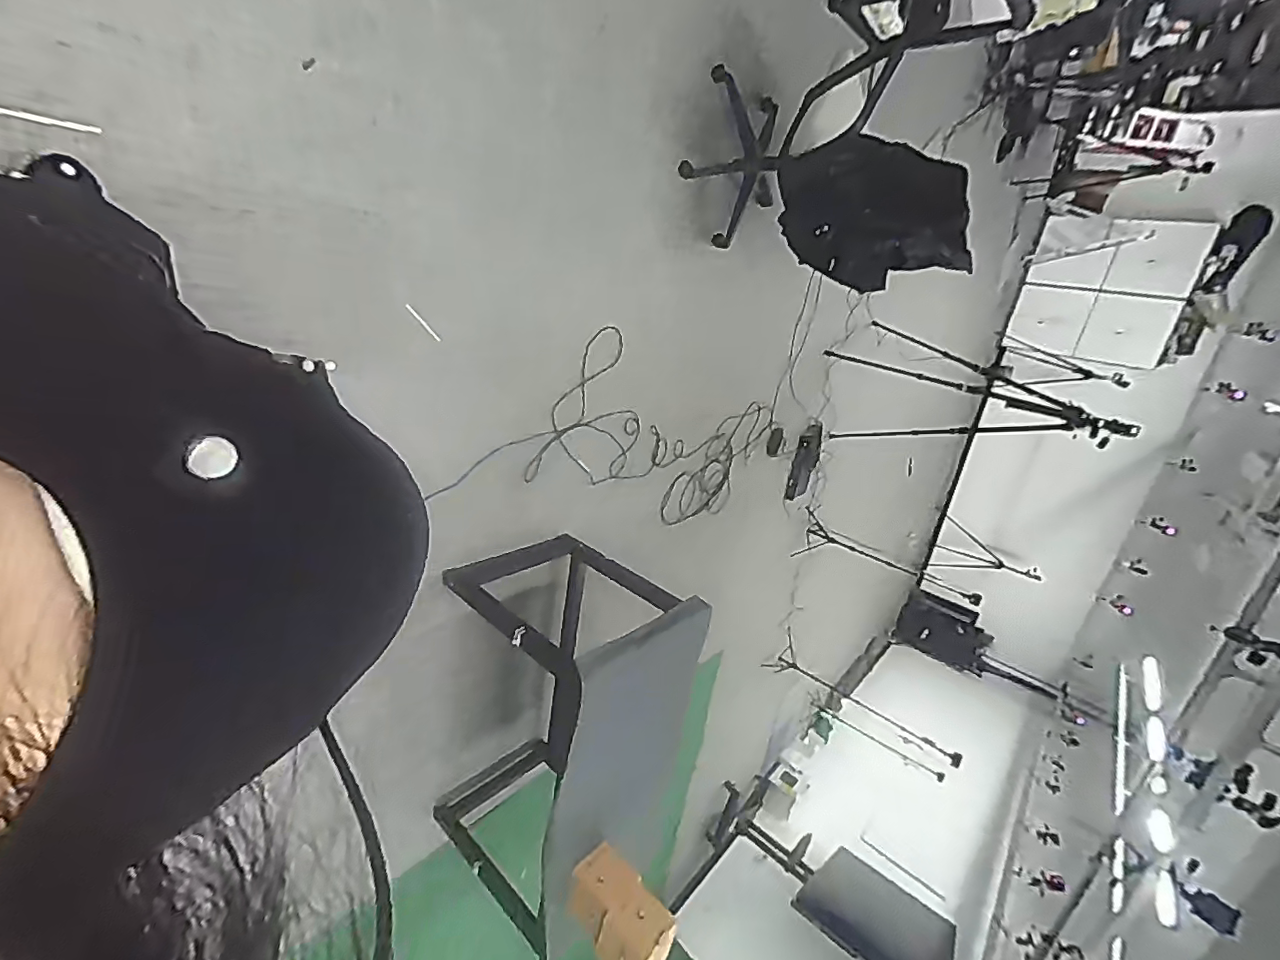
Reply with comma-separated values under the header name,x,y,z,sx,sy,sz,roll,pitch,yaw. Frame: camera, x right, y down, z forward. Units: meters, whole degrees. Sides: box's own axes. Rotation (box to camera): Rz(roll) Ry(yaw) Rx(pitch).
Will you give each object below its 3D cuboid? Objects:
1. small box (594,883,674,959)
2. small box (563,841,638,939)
name,x,y,z,sx,sy,sz,roll,pitch,yaw
small box,-0.022,1.403,1.676,0.168,0.176,0.179,-5,112,-51
small box,-0.133,1.337,1.779,0.168,0.176,0.179,-9,117,-50
